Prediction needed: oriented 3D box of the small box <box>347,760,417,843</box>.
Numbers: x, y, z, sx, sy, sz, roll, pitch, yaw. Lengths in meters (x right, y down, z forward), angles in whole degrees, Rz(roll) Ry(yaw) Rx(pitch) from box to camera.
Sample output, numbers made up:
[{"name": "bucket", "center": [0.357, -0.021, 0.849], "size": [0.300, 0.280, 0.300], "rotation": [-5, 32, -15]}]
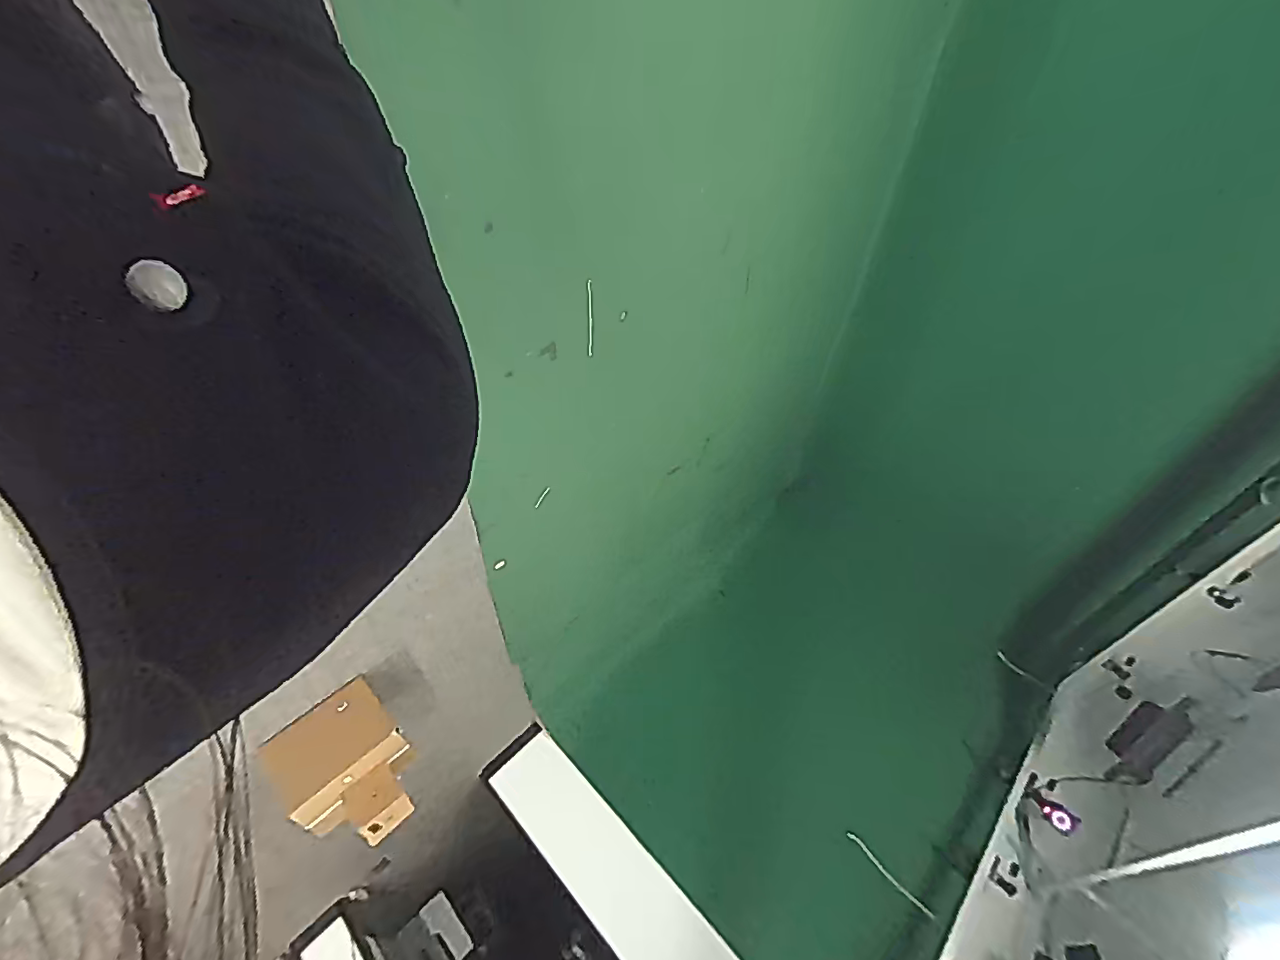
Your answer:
[{"name": "small box", "center": [-0.976, 1.205, 2.034], "size": [0.179, 0.176, 0.168], "rotation": [-31, 140, -37]}]
